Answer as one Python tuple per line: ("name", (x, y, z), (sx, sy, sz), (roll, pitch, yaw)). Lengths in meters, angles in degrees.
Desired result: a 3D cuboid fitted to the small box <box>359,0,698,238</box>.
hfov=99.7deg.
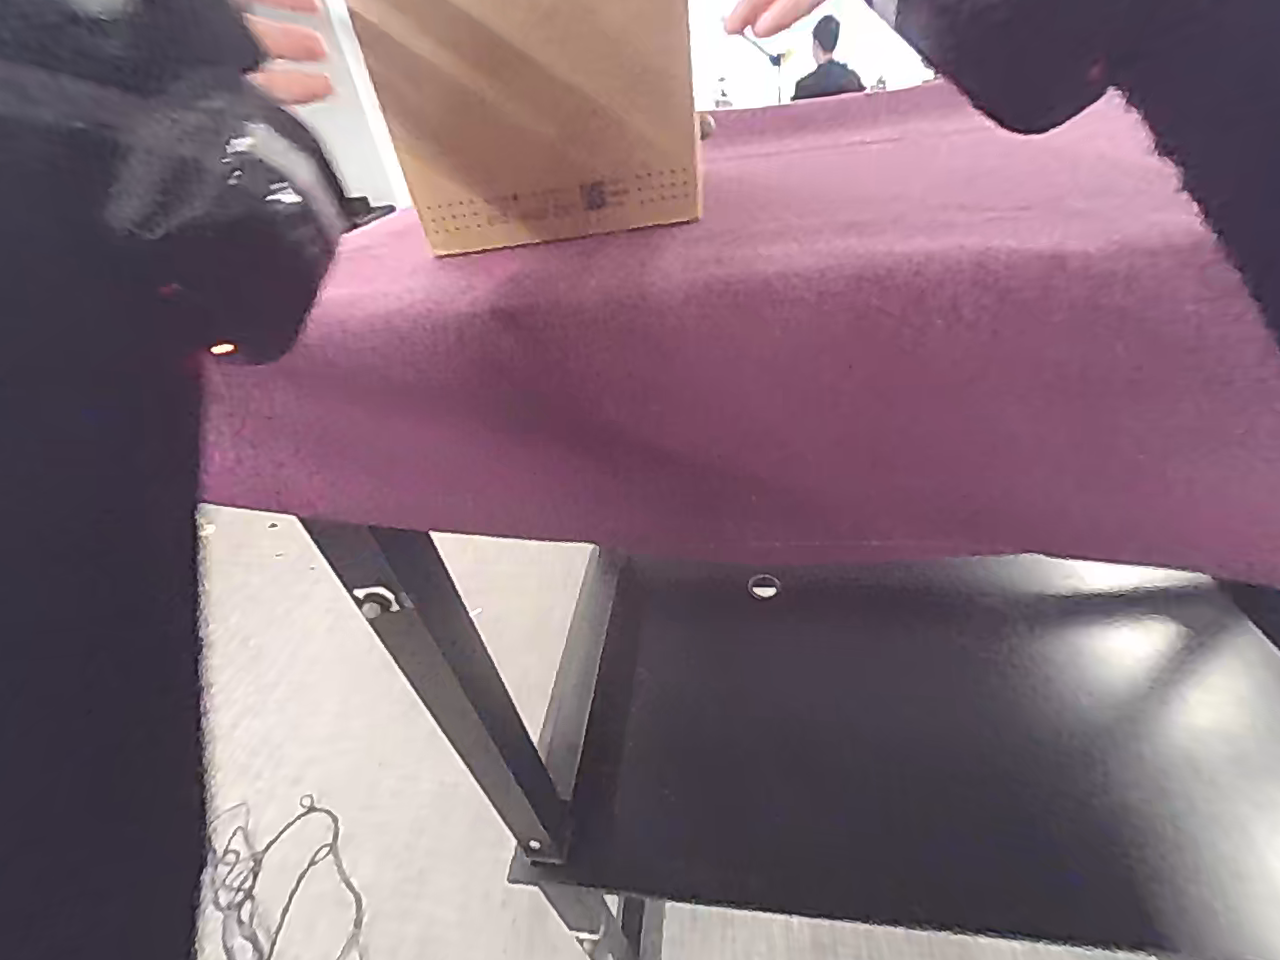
("small box", (-0.056, -0.261, 0.337), (0.168, 0.176, 0.179), (-6, 36, 4))
